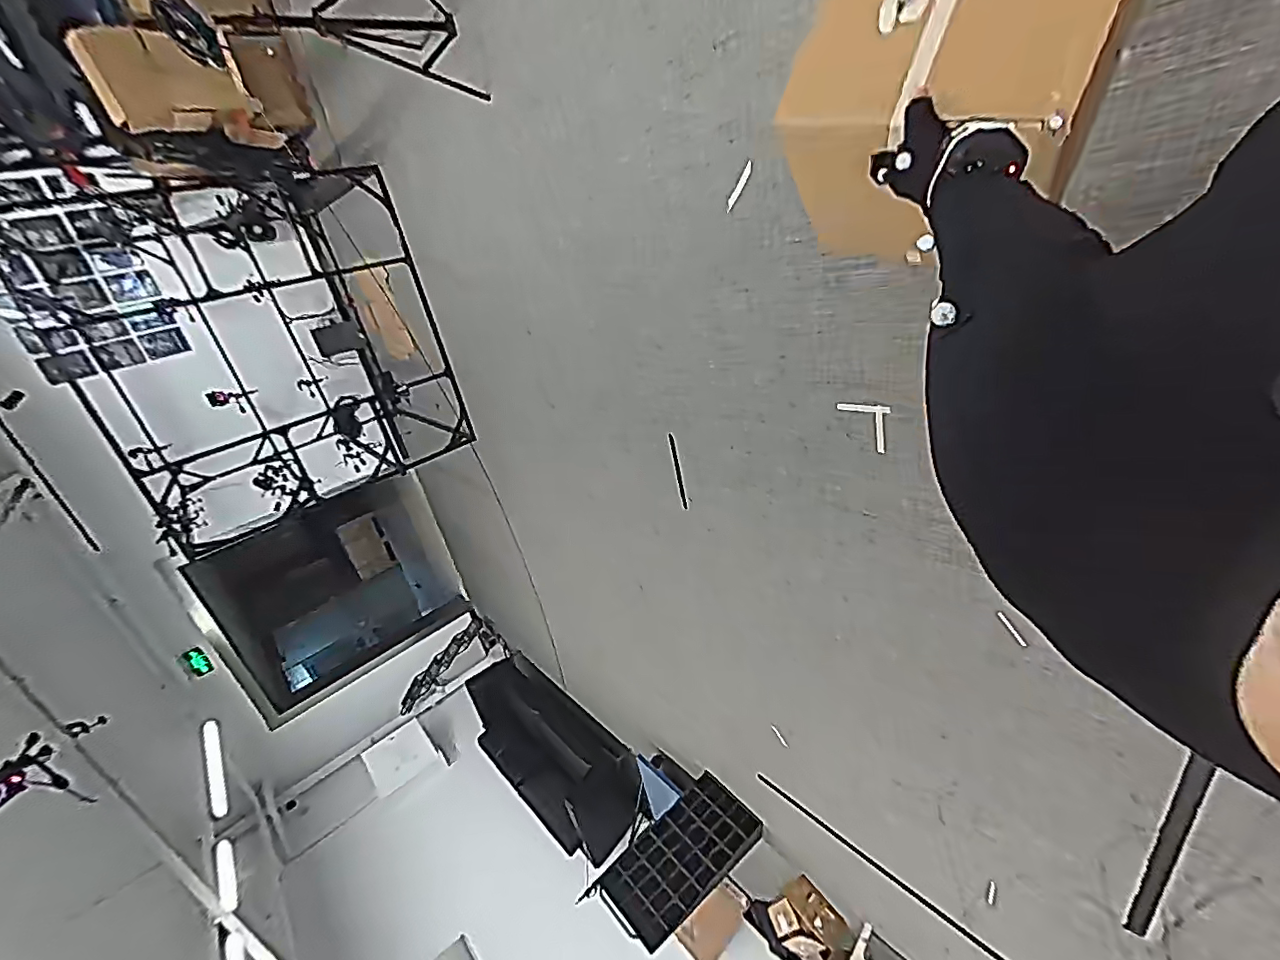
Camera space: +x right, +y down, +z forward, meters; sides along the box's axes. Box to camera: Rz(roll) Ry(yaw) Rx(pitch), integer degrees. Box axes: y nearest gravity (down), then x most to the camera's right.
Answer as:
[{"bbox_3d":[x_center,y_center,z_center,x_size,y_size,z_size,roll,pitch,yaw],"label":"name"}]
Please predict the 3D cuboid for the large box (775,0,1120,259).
[{"bbox_3d":[0.428,-0.572,0.725,0.320,0.320,0.408,22,96,31],"label":"large box"}]
